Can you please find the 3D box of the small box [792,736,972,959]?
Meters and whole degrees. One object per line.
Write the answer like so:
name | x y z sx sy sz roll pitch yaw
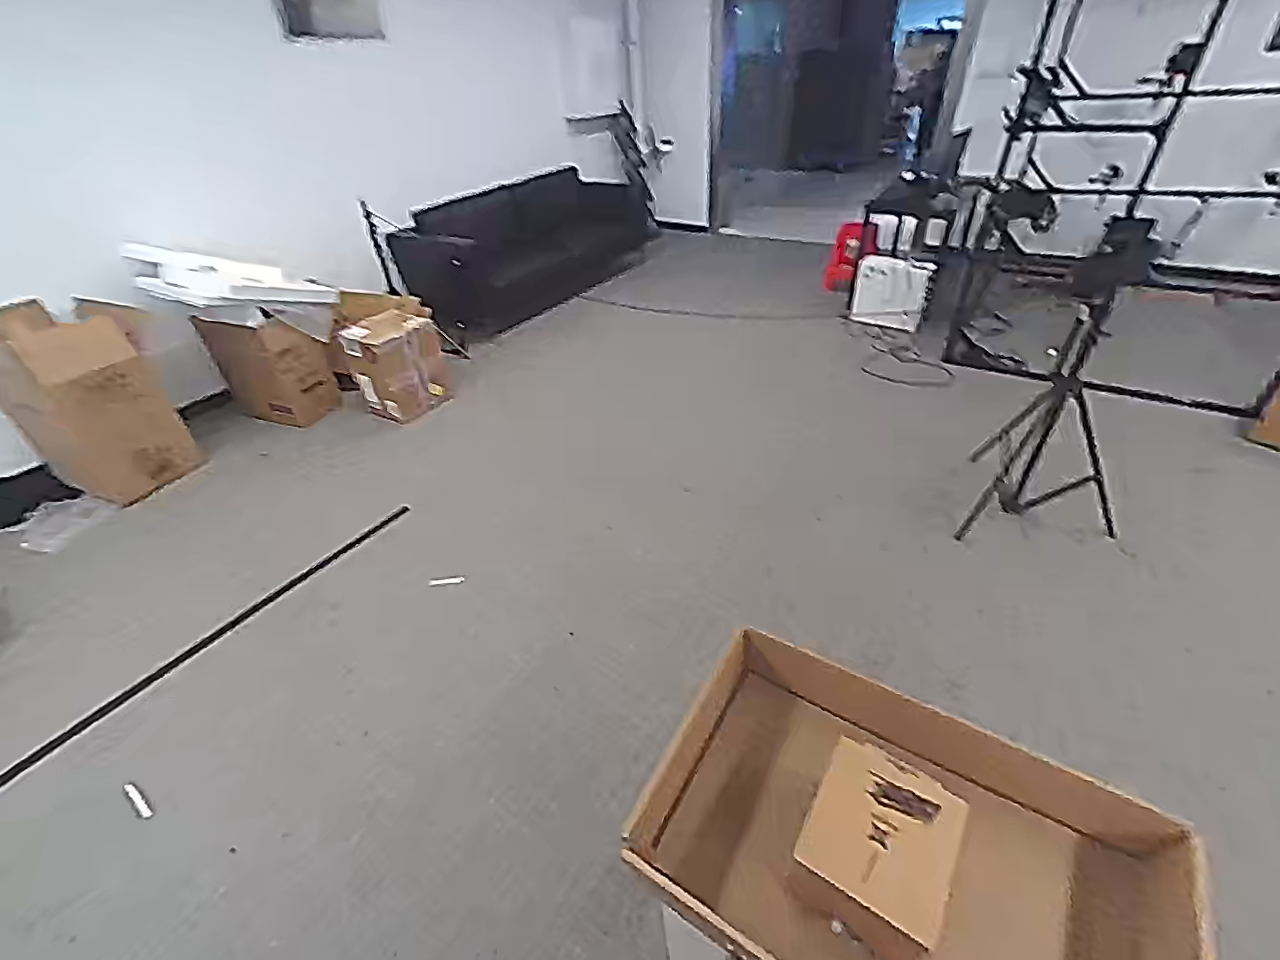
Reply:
small box | 0.314 0.494 0.725 0.168 0.176 0.179 20 49 29
